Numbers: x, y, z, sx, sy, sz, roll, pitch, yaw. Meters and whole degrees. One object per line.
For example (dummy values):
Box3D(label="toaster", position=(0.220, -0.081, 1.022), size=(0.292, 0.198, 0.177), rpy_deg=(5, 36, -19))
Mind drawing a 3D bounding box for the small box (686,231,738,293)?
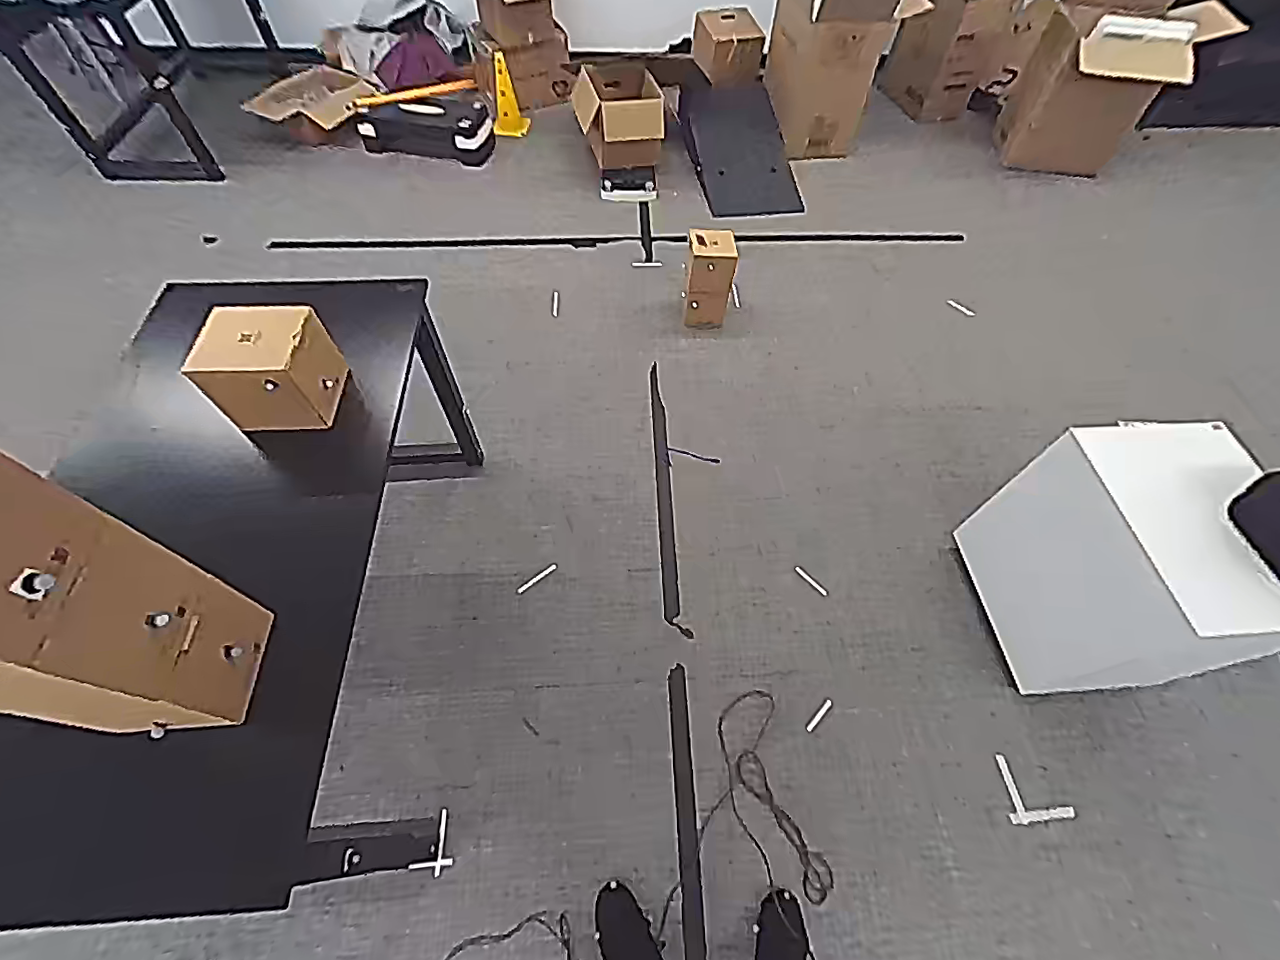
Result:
Box3D(label="small box", position=(0.279, -0.862, 2.142), size=(0.179, 0.176, 0.168), rpy_deg=(-1, 57, -4))

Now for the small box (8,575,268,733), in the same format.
Box3D(label="small box", position=(-0.657, 0.242, 0.742), size=(0.179, 0.176, 0.168), rpy_deg=(-3, 57, -4))

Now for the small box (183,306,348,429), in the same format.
Box3D(label="small box", position=(-0.696, -0.210, 1.030), size=(0.179, 0.176, 0.168), rpy_deg=(-2, 58, -3))

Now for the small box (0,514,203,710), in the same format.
Box3D(label="small box", position=(-0.654, 0.152, 0.603), size=(0.179, 0.176, 0.168), rpy_deg=(-3, 58, -4))

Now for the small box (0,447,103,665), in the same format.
Box3D(label="small box", position=(-0.650, 0.064, 0.466), size=(0.179, 0.176, 0.168), rpy_deg=(-3, 59, -4))
